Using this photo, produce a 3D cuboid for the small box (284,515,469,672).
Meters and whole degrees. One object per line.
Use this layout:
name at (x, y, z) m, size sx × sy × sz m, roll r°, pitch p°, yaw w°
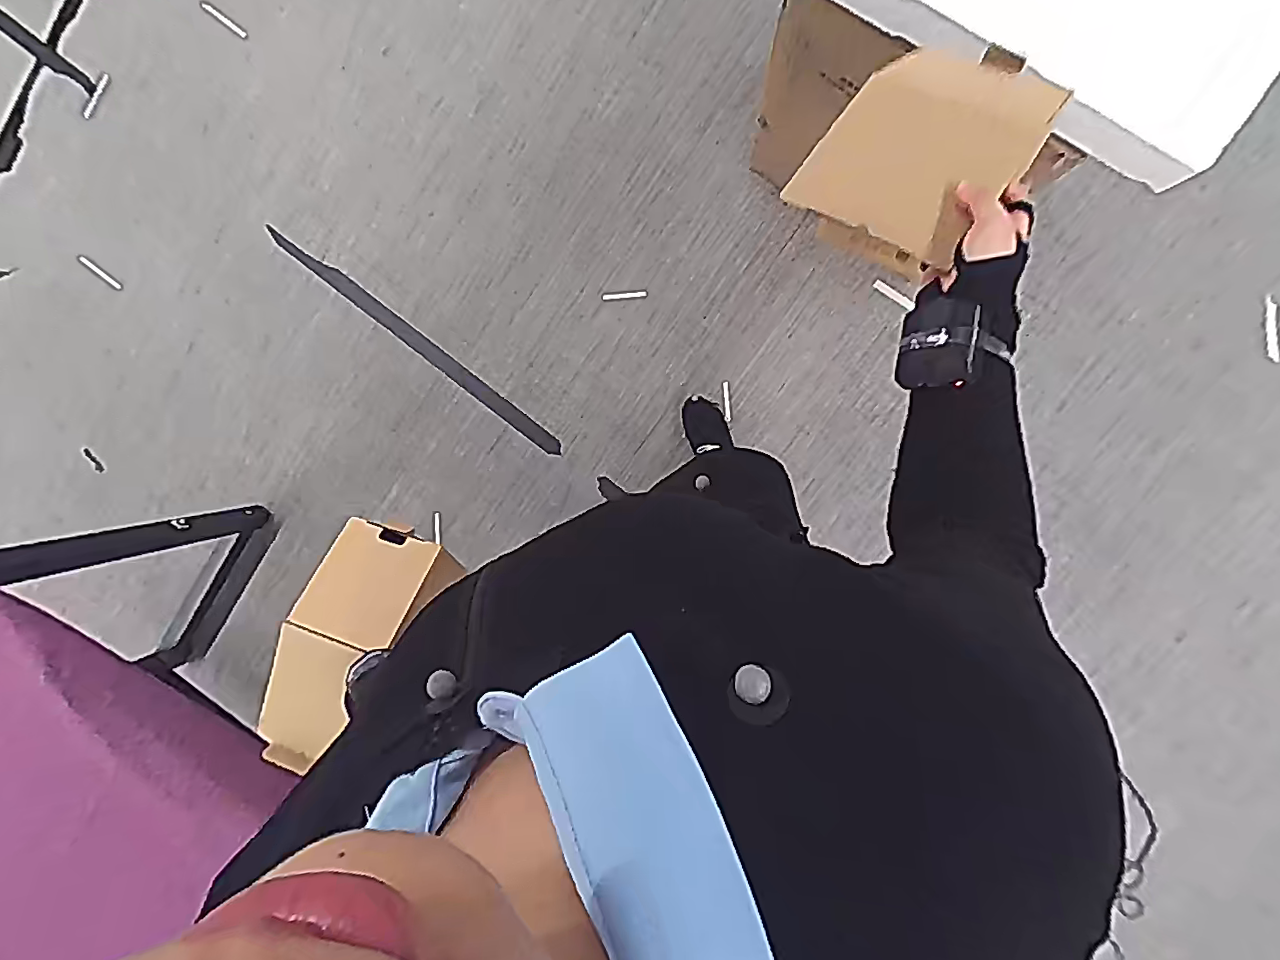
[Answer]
small box at (-0.393, 0.185, 0.848) m, size 0.168 × 0.176 × 0.179 m, roll 16°, pitch 64°, yaw 10°
